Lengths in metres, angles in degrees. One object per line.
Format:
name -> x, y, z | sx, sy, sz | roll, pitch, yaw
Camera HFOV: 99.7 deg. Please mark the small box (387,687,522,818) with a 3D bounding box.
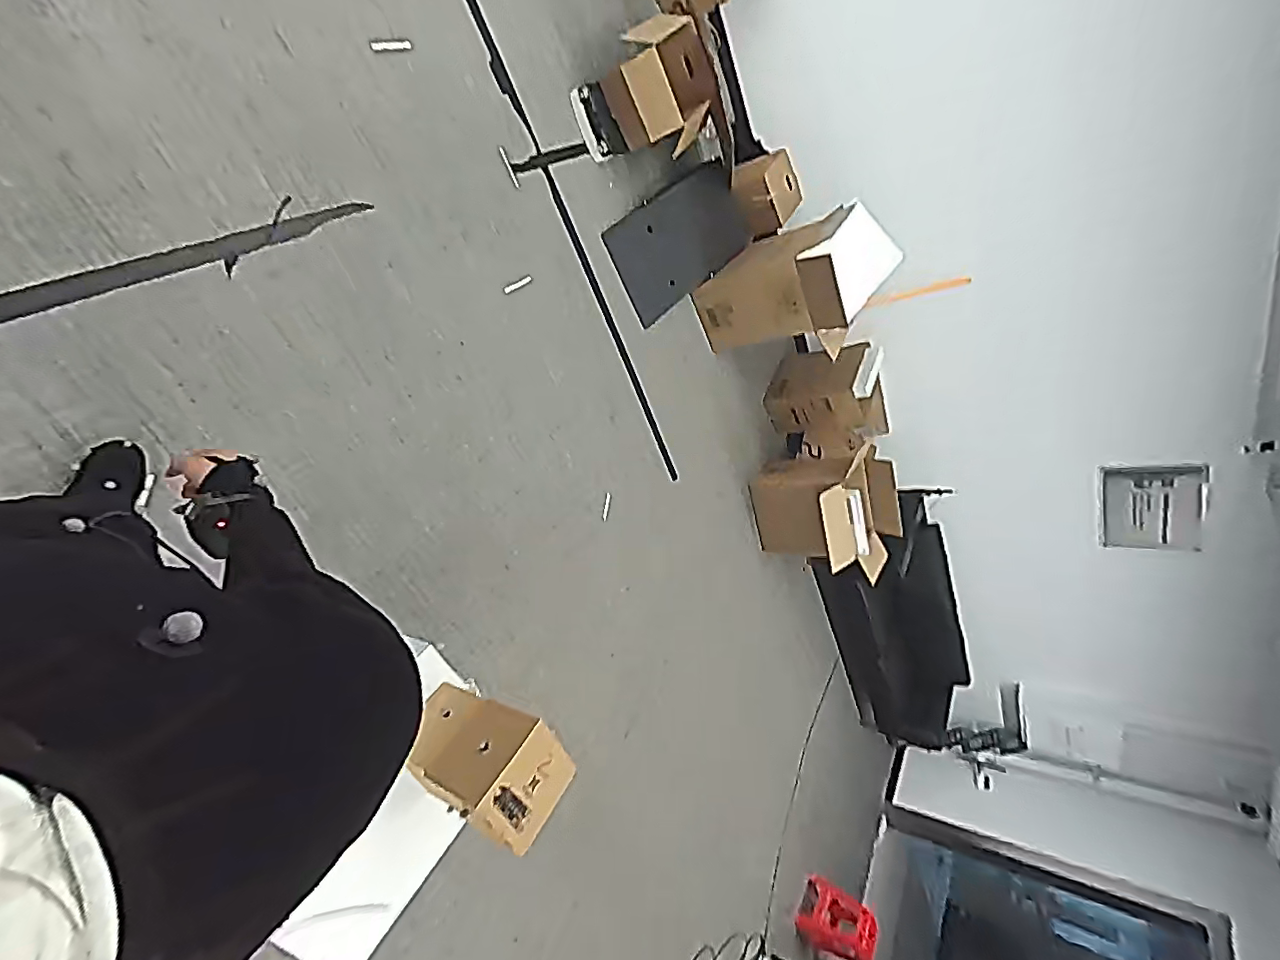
small box -> -0.391, 0.560, 1.137 | 0.168, 0.176, 0.179 | -48, 125, -39
